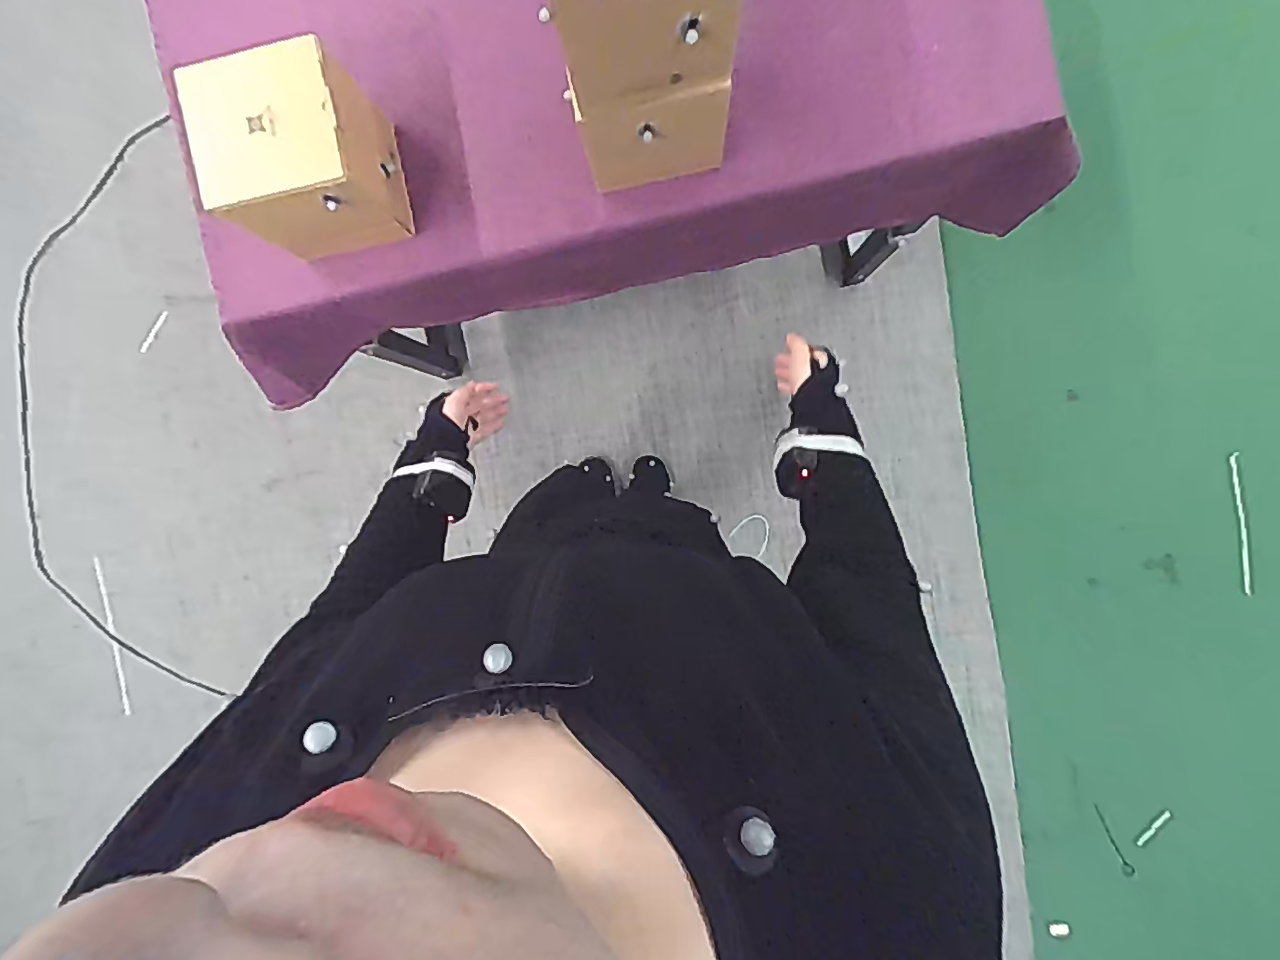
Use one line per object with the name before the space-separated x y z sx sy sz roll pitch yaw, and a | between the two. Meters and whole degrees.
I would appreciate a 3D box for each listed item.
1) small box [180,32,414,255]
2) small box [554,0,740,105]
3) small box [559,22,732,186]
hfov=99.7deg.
small box | -0.424 -0.412 0.695 0.179 0.176 0.168 -12 92 3
small box | -0.002 -0.490 0.502 0.168 0.176 0.179 -12 91 3
small box | 0.008 -0.491 0.665 0.179 0.176 0.168 -9 93 4
